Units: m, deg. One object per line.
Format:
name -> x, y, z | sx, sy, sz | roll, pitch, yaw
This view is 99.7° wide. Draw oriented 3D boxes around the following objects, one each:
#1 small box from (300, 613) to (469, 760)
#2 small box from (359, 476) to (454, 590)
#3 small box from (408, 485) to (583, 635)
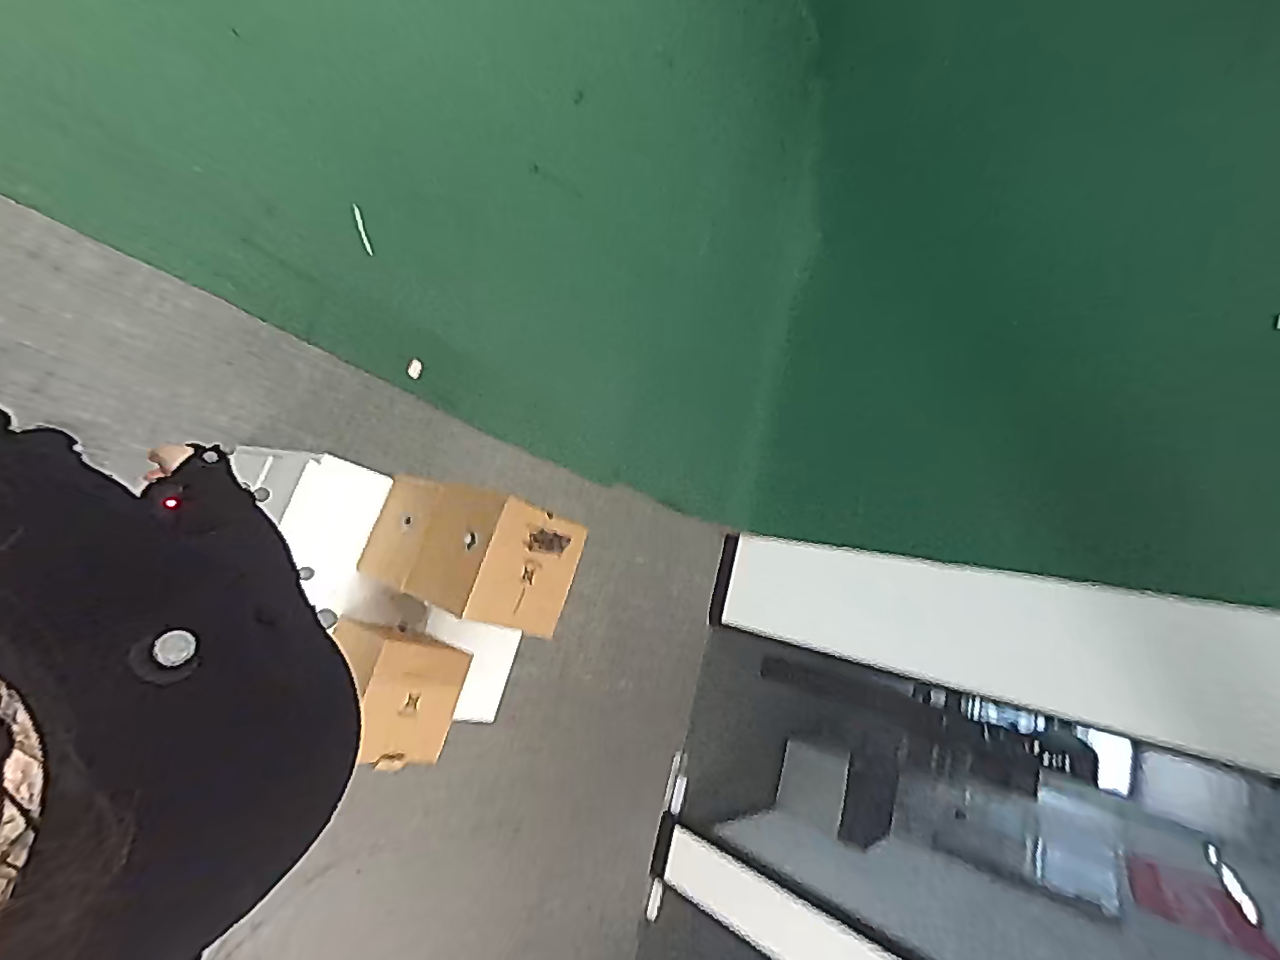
small box -> -0.419, 0.333, 0.882 | 0.168, 0.176, 0.179 | 33, 68, -47
small box -> -0.350, 0.103, 0.933 | 0.168, 0.176, 0.179 | 32, 71, -46
small box -> -0.223, 0.118, 0.828 | 0.168, 0.176, 0.179 | 32, 73, -47
